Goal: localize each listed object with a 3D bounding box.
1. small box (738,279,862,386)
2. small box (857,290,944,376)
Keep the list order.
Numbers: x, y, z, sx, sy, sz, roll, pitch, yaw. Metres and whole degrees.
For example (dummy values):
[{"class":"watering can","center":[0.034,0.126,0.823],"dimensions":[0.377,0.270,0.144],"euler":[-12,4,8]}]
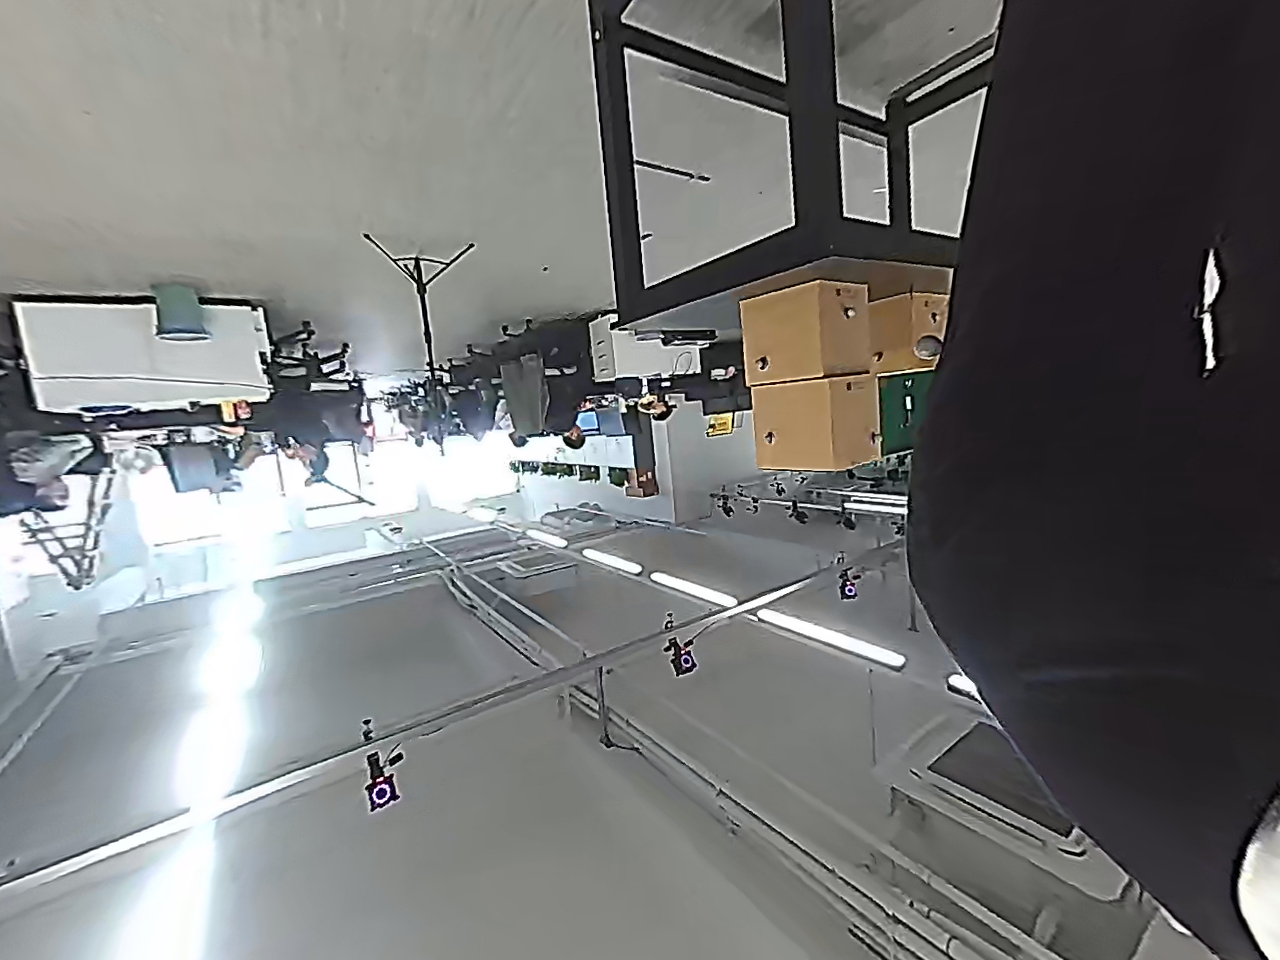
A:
[{"class":"small box","center":[0.304,-0.274,1.033],"dimensions":[0.168,0.176,0.179],"euler":[-13,-169,-38]},{"class":"small box","center":[0.586,-0.336,1.267],"dimensions":[0.168,0.176,0.179],"euler":[-10,-171,-33]}]
